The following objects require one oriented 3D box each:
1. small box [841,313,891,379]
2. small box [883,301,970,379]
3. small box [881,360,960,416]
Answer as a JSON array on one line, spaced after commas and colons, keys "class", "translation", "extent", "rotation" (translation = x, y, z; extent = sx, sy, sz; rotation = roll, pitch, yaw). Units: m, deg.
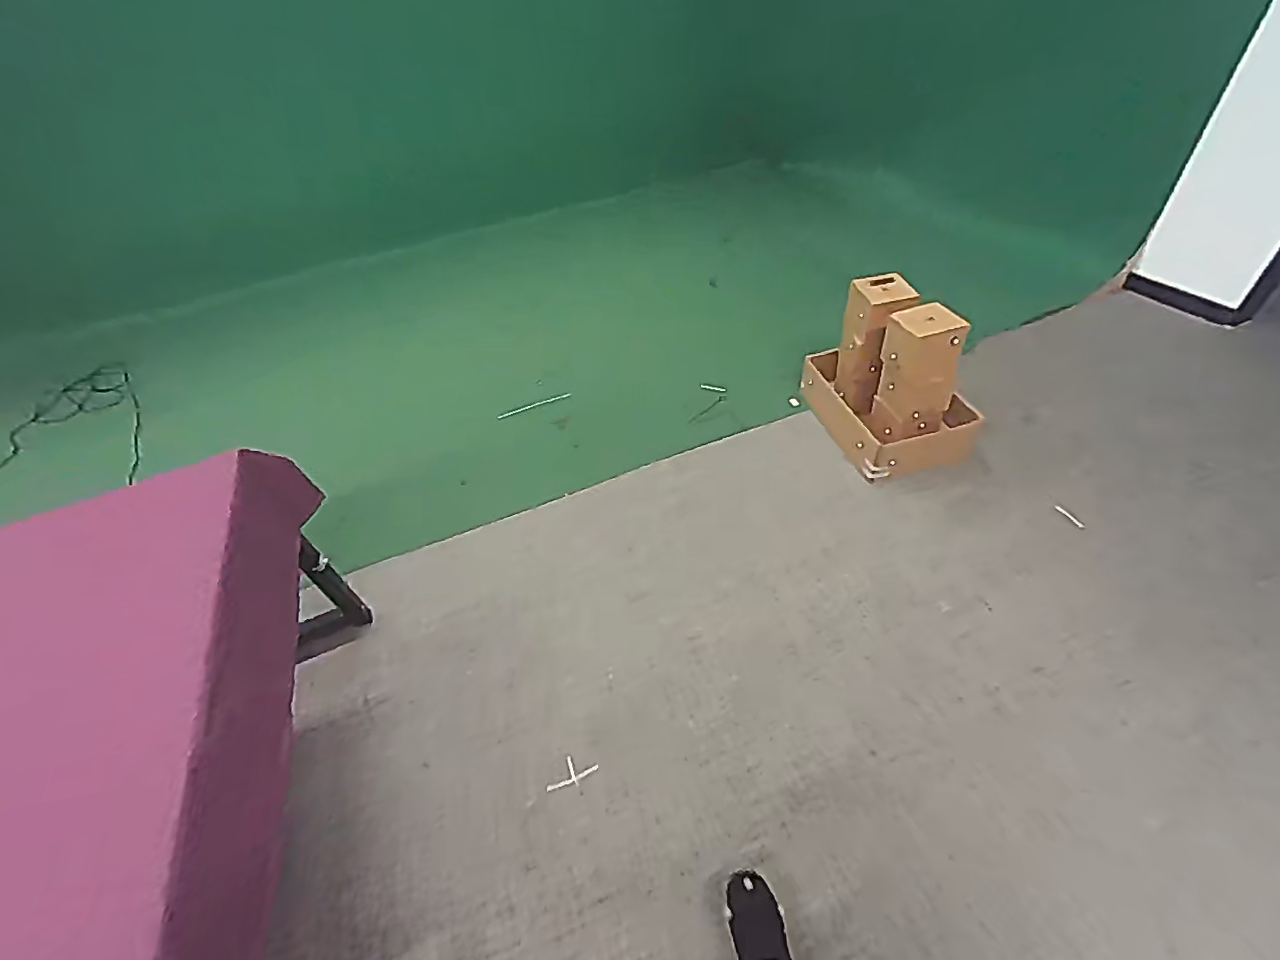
[{"class": "small box", "translation": [0.881, -0.509, 2.064], "extent": [0.168, 0.176, 0.179], "rotation": [-8, 47, 4]}, {"class": "small box", "translation": [0.926, -0.455, 1.764], "extent": [0.179, 0.176, 0.168], "rotation": [-16, 44, -4]}, {"class": "small box", "translation": [0.964, -0.339, 1.875], "extent": [0.168, 0.176, 0.179], "rotation": [-16, 43, -4]}]
